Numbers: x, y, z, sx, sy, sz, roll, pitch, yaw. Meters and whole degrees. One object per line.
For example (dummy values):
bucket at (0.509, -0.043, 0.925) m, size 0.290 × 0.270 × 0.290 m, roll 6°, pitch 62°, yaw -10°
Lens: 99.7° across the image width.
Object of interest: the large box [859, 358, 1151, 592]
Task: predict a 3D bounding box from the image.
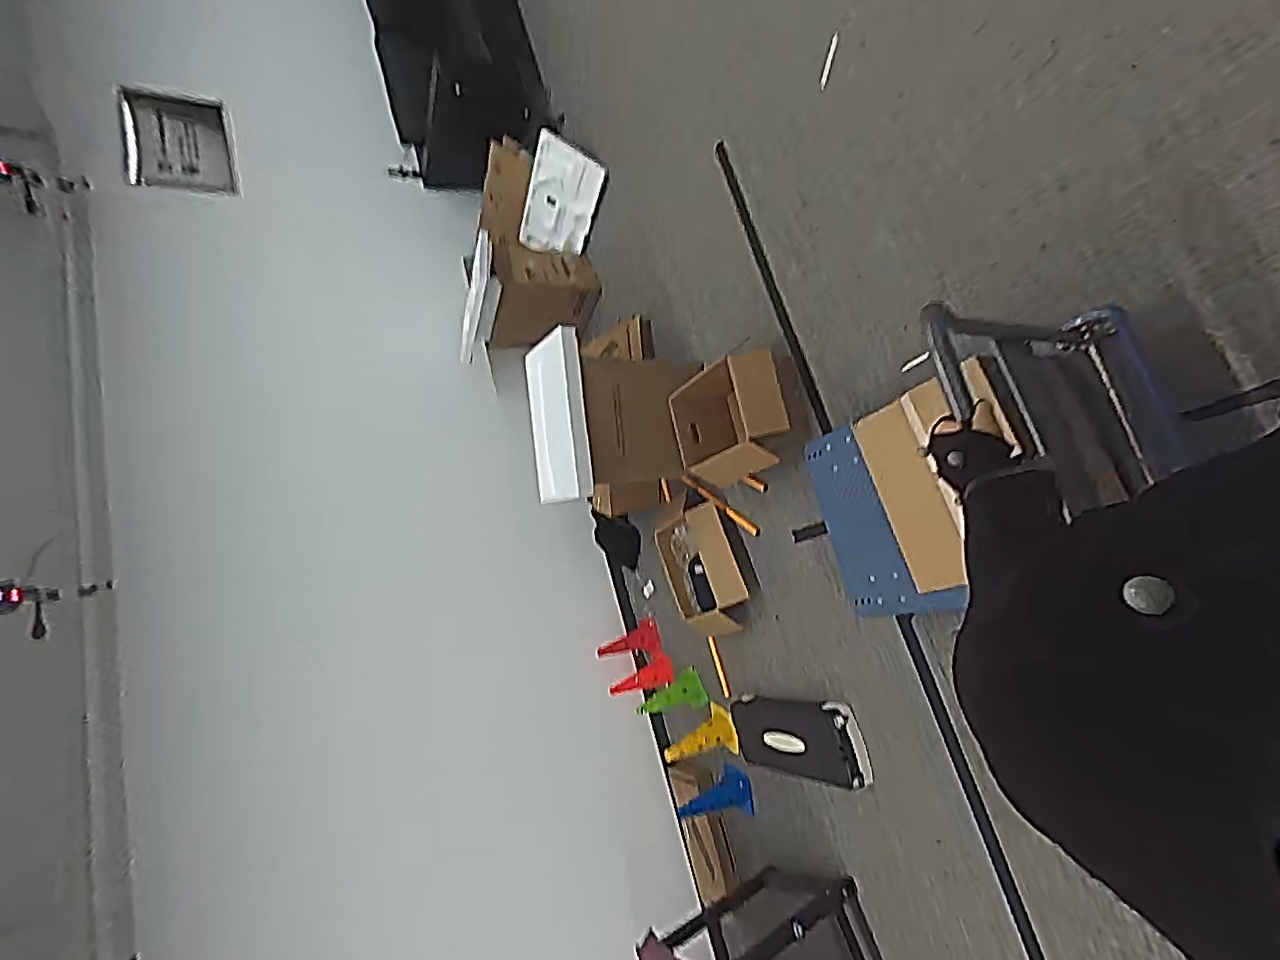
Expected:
large box at (0.757, -0.010, 1.158) m, size 0.320 × 0.320 × 0.408 m, roll -39°, pitch 63°, yaw 56°
